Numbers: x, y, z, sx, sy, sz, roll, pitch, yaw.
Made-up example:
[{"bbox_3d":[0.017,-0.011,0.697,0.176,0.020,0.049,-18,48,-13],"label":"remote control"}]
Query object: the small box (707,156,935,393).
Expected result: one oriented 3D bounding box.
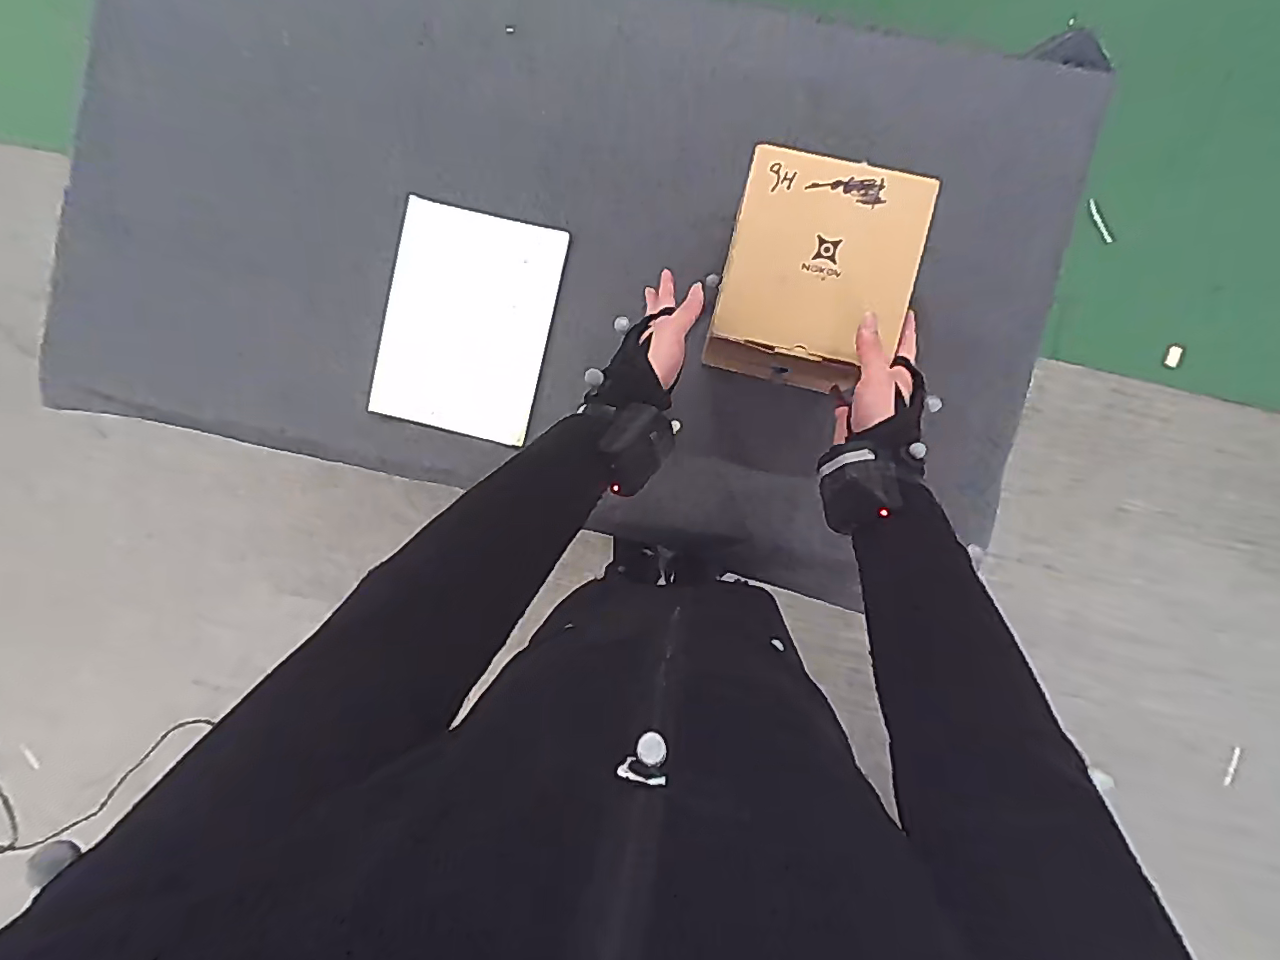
[{"bbox_3d":[0.169,-0.195,0.567,0.168,0.176,0.179,13,95,3],"label":"small box"}]
